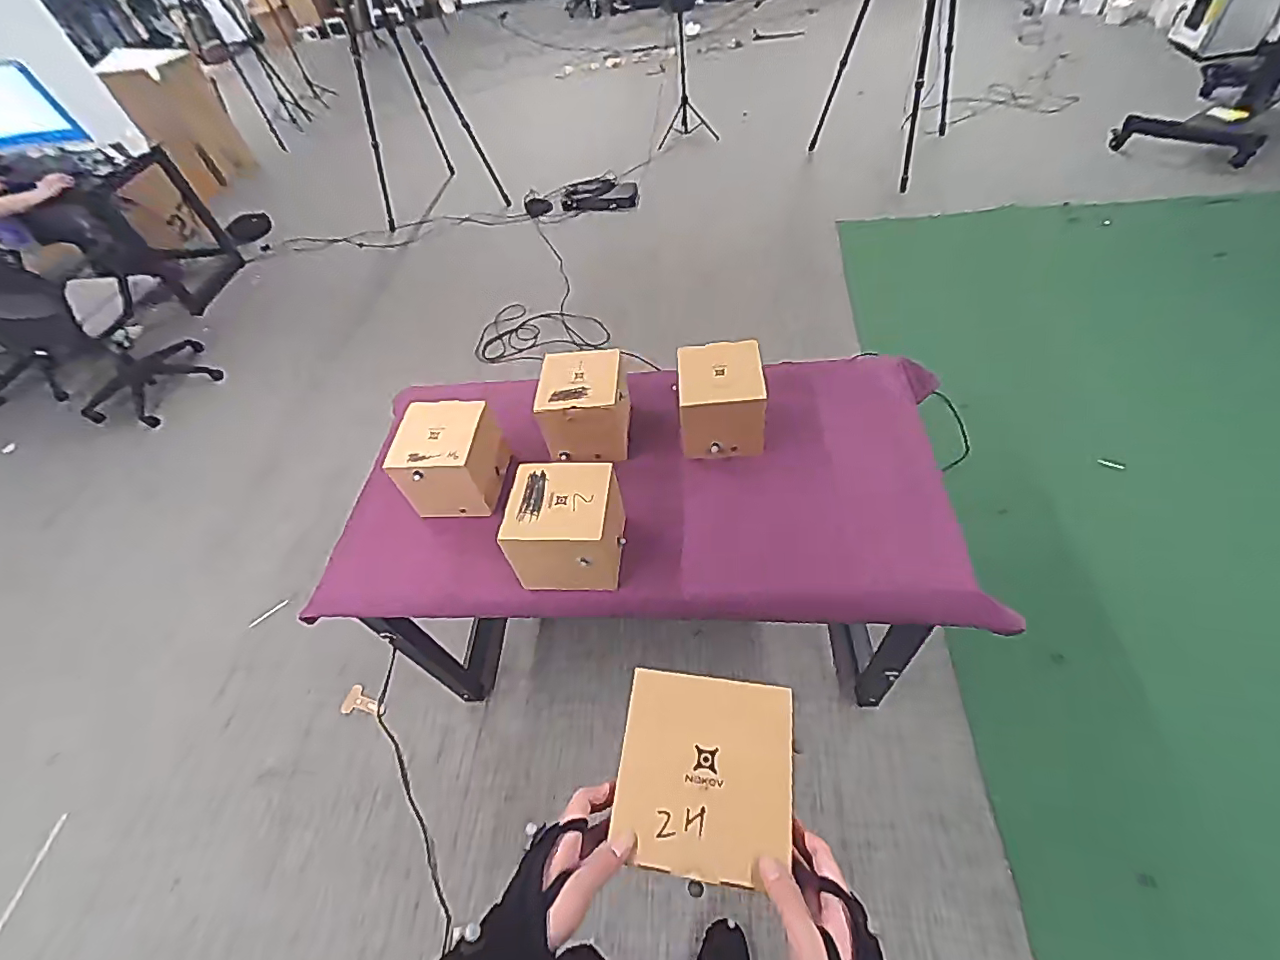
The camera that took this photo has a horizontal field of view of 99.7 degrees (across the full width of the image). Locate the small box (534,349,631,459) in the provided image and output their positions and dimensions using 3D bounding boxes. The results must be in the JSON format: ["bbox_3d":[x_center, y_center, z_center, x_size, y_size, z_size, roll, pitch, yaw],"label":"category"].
[{"bbox_3d":[-0.114,-0.157,1.167,0.168,0.176,0.179,-2,51,7],"label":"small box"}]

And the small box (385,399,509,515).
[{"bbox_3d":[-0.385,-0.047,1.118,0.168,0.176,0.179,-2,51,9],"label":"small box"}]

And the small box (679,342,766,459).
[{"bbox_3d":[0.168,-0.163,1.130,0.168,0.176,0.179,-3,52,7],"label":"small box"}]

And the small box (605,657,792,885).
[{"bbox_3d":[0.070,0.315,0.588,0.168,0.176,0.179,5,56,11],"label":"small box"}]
